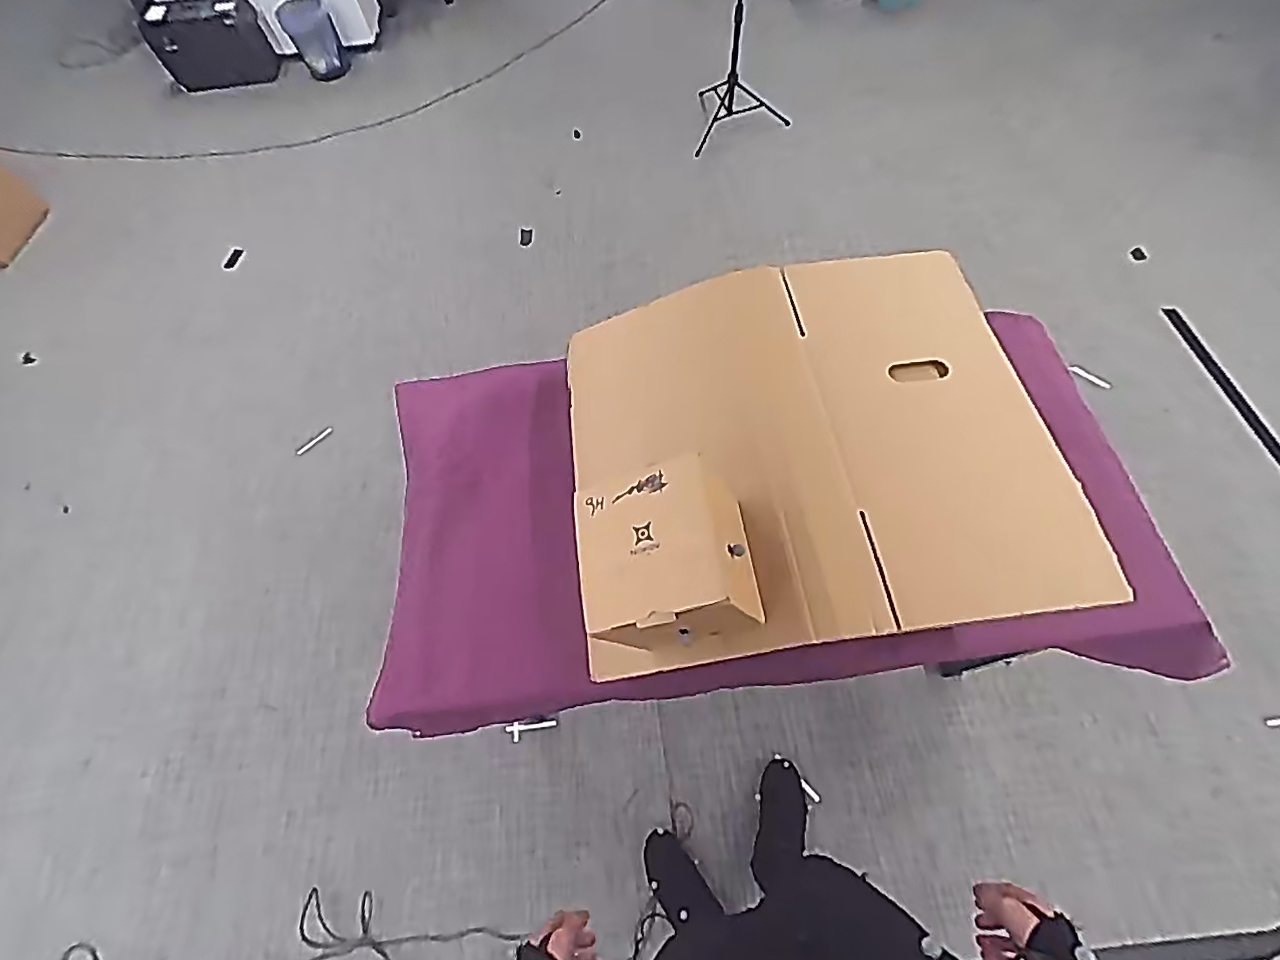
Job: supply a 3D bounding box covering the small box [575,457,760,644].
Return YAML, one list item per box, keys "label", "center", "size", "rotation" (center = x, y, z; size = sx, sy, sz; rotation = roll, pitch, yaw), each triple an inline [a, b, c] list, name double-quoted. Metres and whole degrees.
- label: "small box"
  center: [0.037, 0.100, 0.669]
  size: [0.168, 0.176, 0.179]
  rotation: [-18, 63, 18]
